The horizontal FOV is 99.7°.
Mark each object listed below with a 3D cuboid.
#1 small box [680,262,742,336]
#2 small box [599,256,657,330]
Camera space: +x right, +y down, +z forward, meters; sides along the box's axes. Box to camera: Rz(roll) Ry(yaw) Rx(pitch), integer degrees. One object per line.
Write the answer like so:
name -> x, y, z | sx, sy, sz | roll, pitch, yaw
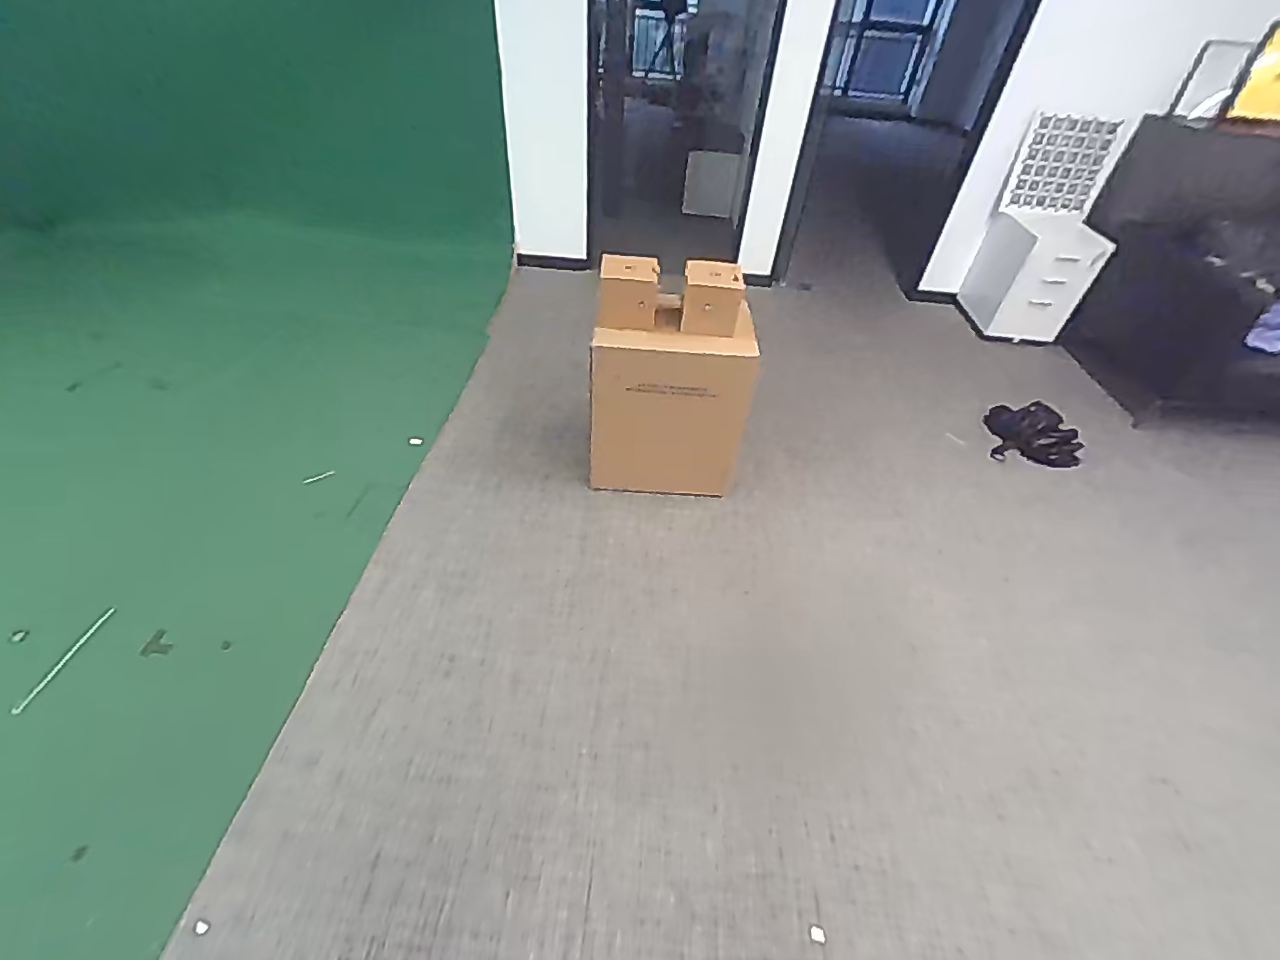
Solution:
small box -> 0.222, -0.580, 1.743 | 0.179, 0.176, 0.168 | 5, 47, -1
small box -> -0.039, -0.597, 1.735 | 0.179, 0.176, 0.168 | 2, 46, -2
